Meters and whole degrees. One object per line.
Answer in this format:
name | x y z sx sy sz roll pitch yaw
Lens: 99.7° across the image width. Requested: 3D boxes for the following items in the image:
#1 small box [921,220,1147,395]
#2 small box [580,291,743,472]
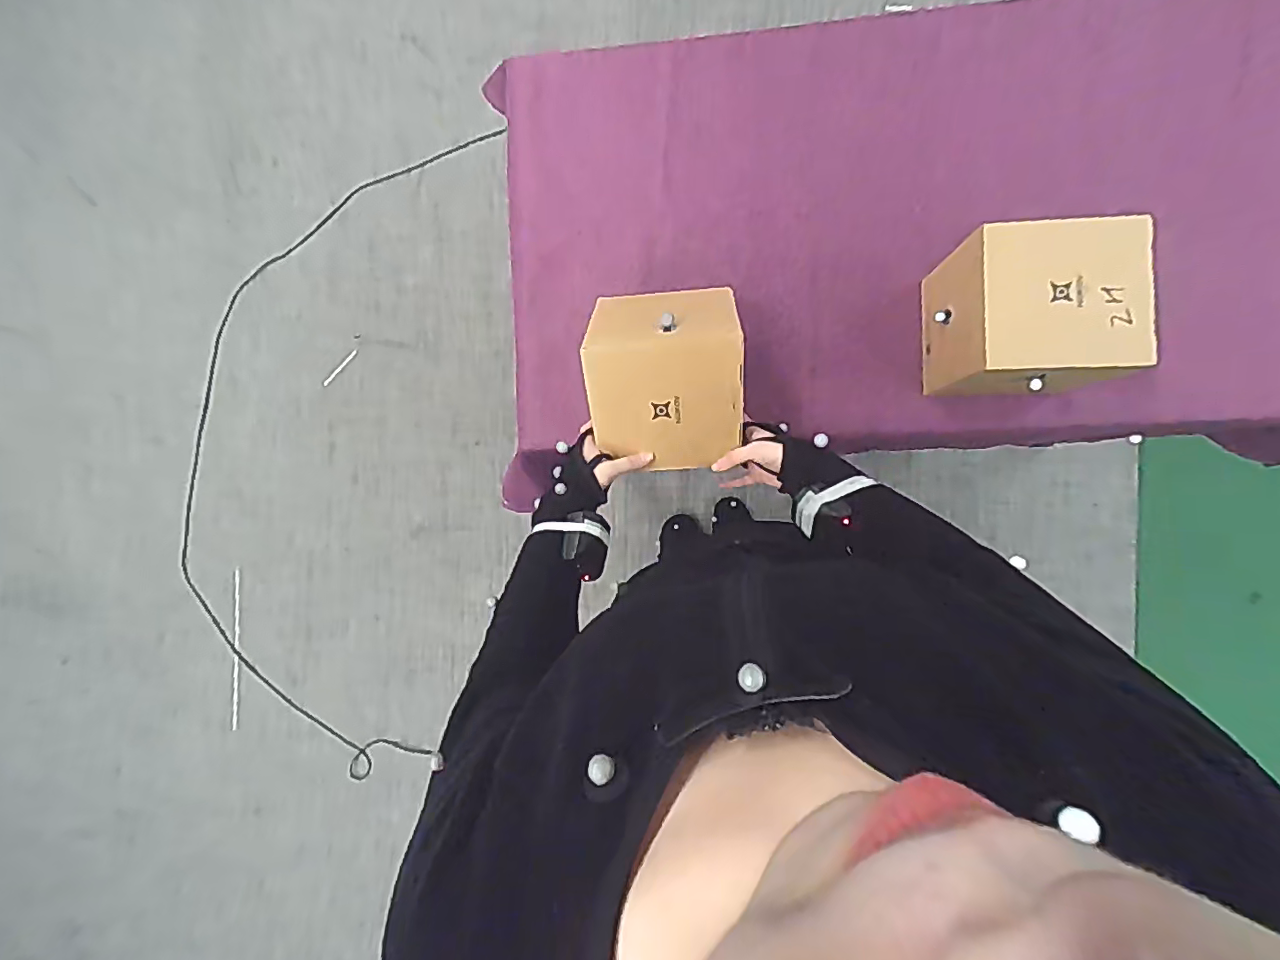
small box | 0.471 -0.201 0.675 0.179 0.176 0.168 0 89 5
small box | 0.032 -0.127 0.682 0.179 0.176 0.168 -4 126 5
